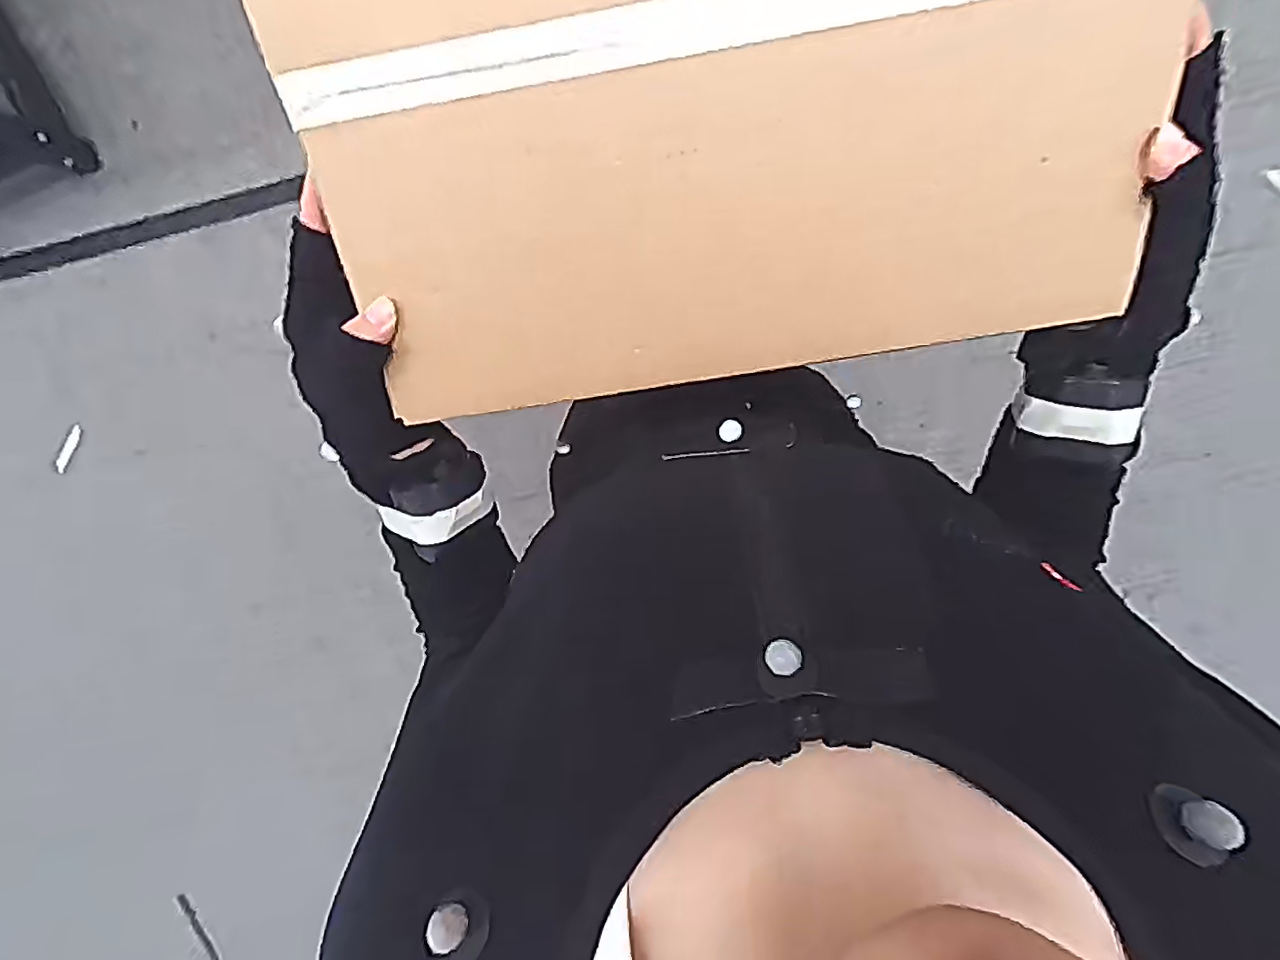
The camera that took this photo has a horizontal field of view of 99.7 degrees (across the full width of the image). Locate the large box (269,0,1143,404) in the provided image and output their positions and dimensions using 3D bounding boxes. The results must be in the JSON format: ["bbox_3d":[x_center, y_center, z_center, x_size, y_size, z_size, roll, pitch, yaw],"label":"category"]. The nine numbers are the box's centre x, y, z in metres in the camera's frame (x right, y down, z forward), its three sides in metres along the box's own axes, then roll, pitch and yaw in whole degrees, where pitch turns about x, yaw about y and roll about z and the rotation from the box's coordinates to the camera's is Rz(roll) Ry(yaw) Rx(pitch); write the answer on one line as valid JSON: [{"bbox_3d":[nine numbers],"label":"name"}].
[{"bbox_3d":[0.028,-0.271,0.387,0.408,0.320,0.320,-9,114,2],"label":"large box"}]
